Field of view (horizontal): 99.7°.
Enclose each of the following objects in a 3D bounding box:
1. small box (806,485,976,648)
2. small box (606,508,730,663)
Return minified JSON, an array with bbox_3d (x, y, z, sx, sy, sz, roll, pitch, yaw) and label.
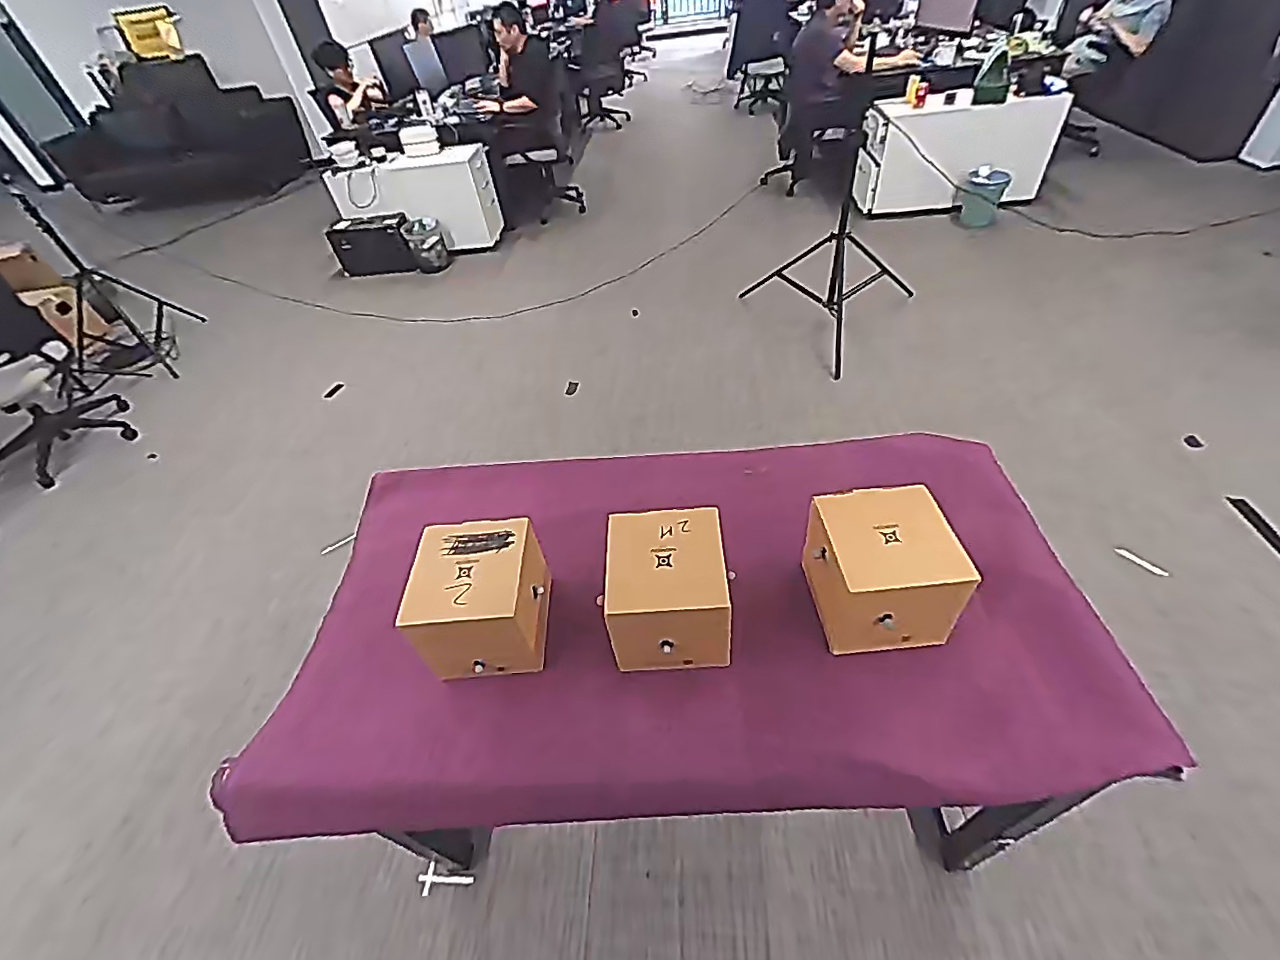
[{"bbox_3d":[0.354,0.134,0.801,0.168,0.176,0.179,-7,43,3],"label":"small box"},{"bbox_3d":[0.046,0.164,0.815,0.168,0.176,0.179,-3,45,4],"label":"small box"}]
